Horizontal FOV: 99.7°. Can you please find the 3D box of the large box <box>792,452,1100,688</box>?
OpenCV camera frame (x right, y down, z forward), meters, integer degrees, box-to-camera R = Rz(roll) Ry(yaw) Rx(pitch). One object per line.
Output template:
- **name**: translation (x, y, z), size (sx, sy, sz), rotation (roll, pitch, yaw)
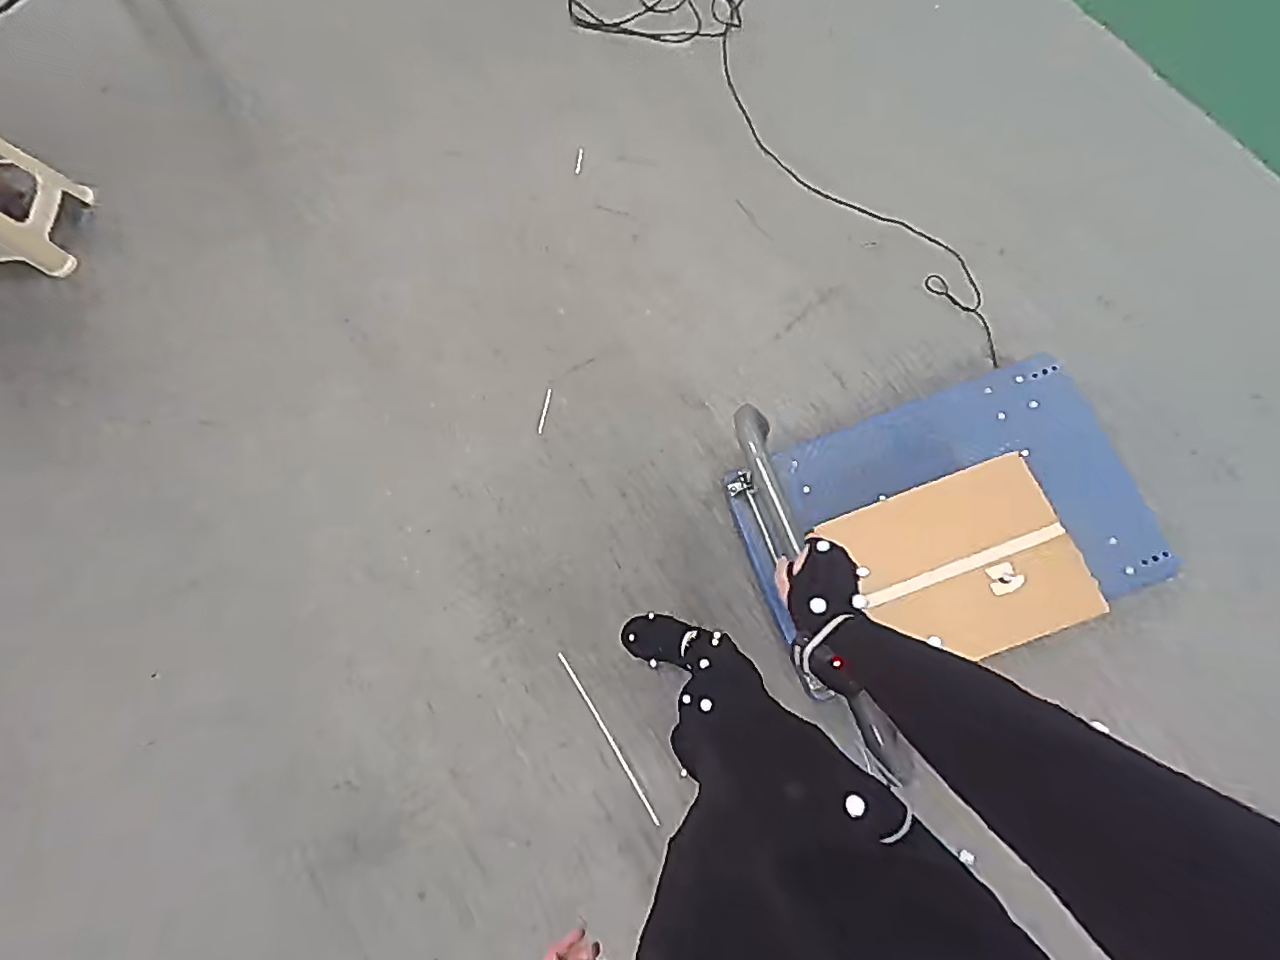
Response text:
- **large box**: translation (0.583, 0.191, 1.124), size (0.408, 0.320, 0.320), rotation (-22, 77, 1)
